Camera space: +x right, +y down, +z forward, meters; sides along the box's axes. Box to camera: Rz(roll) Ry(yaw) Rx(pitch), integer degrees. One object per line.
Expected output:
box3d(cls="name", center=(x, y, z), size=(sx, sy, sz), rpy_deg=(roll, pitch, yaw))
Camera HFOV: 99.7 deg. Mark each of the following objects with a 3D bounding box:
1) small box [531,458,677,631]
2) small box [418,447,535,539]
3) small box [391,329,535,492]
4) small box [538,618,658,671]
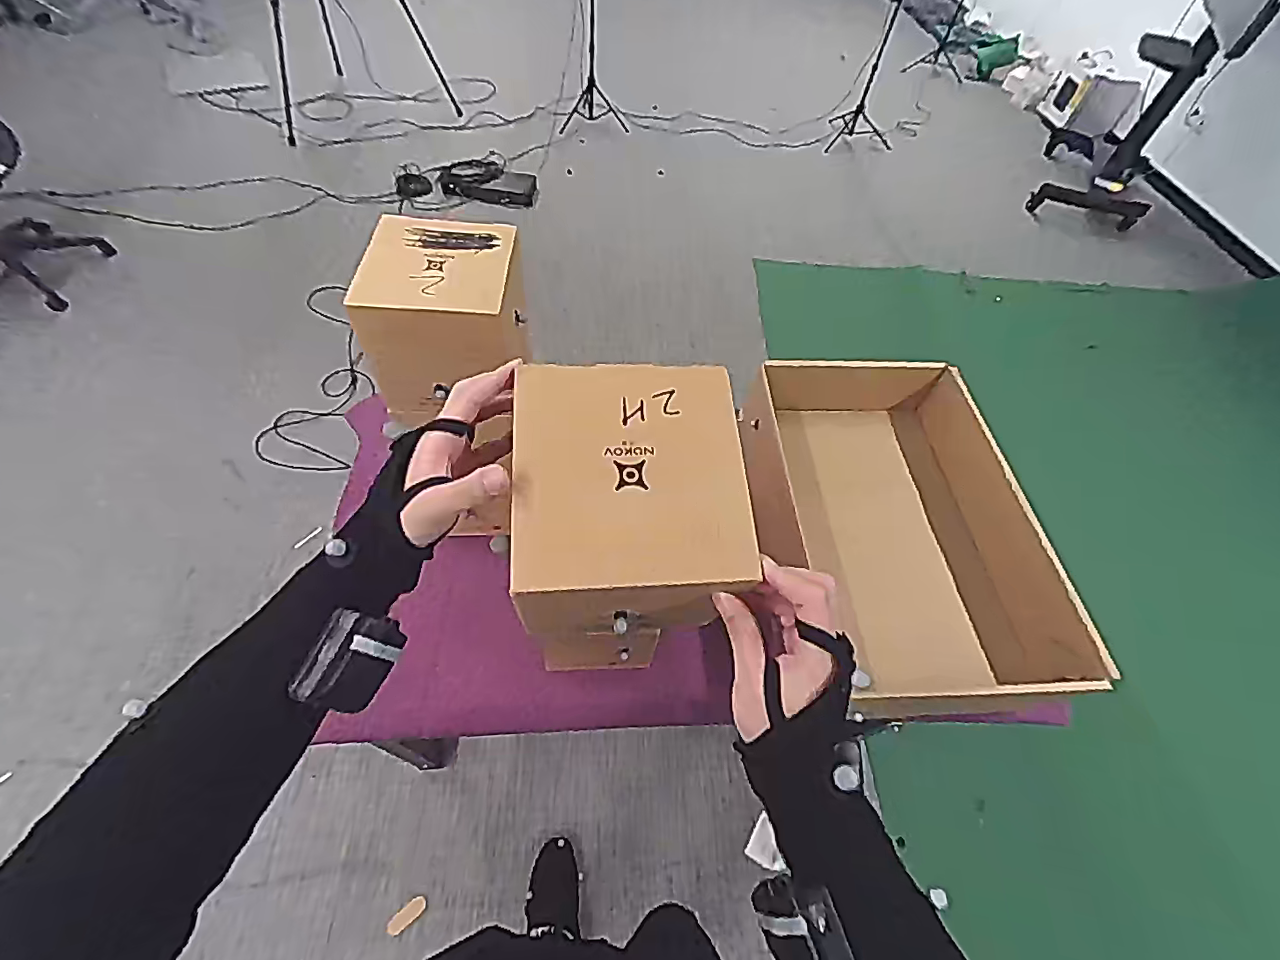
box3d(cls="small box", center=(-0.049, 0.091, 0.709), size=(0.168, 0.176, 0.179), rpy_deg=(1, 54, -7))
box3d(cls="small box", center=(-0.276, -0.006, 0.956), size=(0.168, 0.176, 0.179), rpy_deg=(-1, 54, -7))
box3d(cls="small box", center=(-0.254, -0.103, 0.826), size=(0.168, 0.176, 0.179), rpy_deg=(3, 55, -4))
box3d(cls="small box", center=(-0.064, 0.190, 0.838), size=(0.168, 0.176, 0.179), rpy_deg=(1, 53, -6))
